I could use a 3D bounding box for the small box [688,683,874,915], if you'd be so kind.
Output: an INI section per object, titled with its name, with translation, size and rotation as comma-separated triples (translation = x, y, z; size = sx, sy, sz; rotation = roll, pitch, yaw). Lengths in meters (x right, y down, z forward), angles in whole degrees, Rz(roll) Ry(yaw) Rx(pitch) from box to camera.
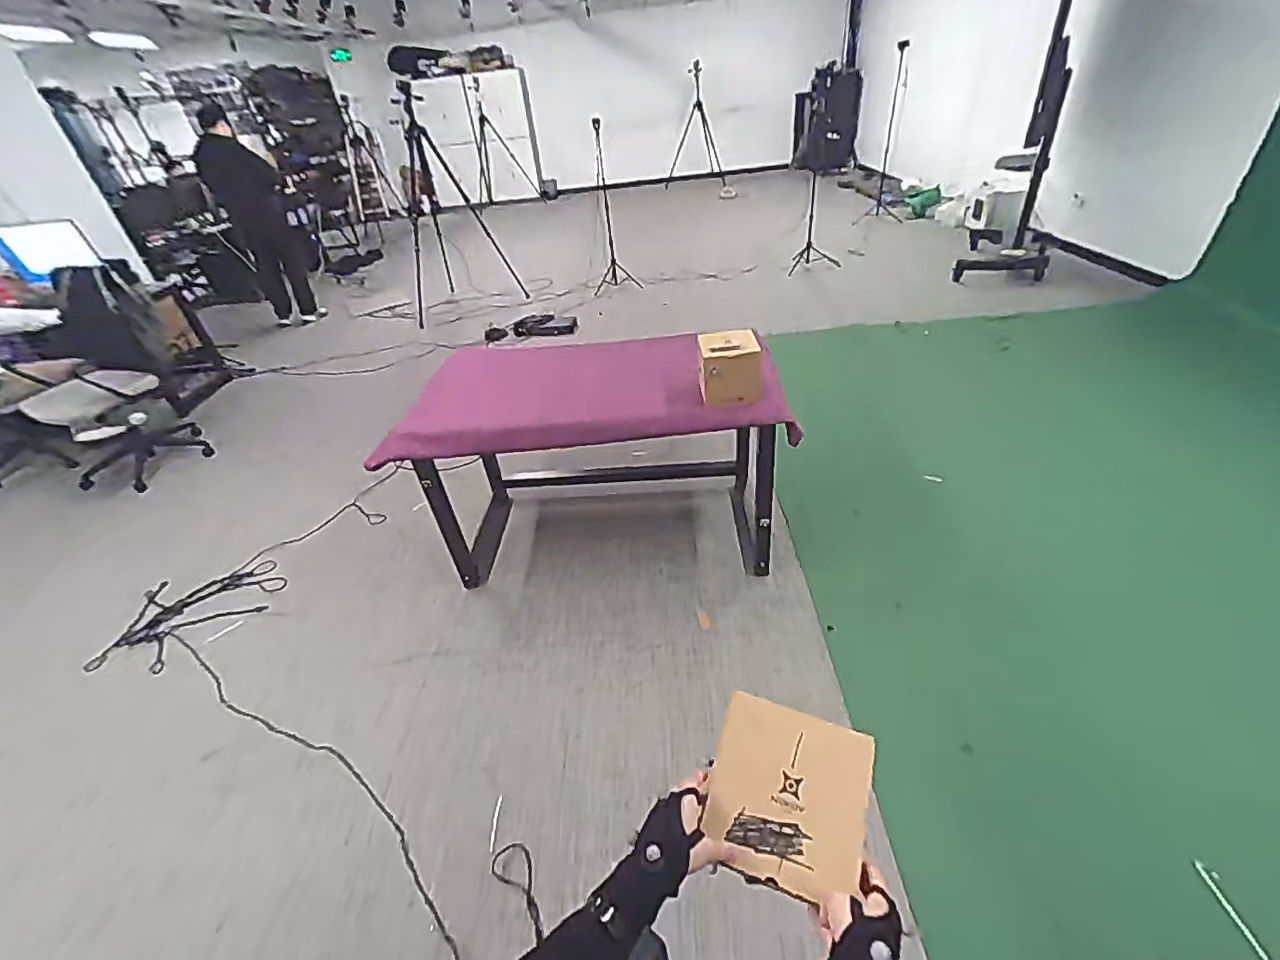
[small box]
translation = 0.162, 0.377, 0.650
size = 0.168, 0.176, 0.179
rotation = 16, 58, 14
